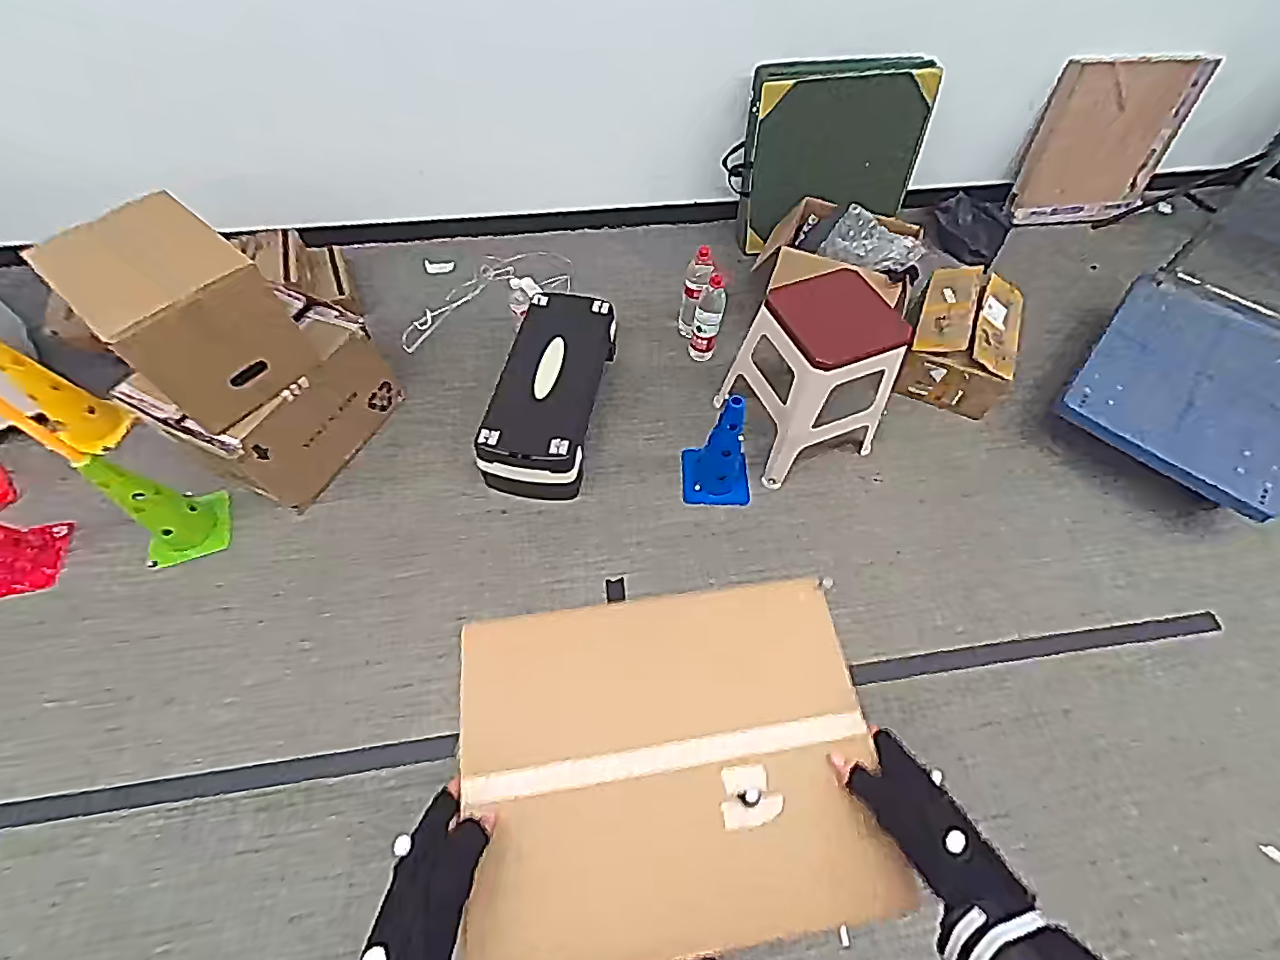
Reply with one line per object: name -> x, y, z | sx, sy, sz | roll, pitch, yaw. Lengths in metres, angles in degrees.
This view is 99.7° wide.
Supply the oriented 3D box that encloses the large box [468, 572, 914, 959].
large box -> 0.025, 0.335, 0.669 | 0.408, 0.320, 0.320 | -6, 63, -7
